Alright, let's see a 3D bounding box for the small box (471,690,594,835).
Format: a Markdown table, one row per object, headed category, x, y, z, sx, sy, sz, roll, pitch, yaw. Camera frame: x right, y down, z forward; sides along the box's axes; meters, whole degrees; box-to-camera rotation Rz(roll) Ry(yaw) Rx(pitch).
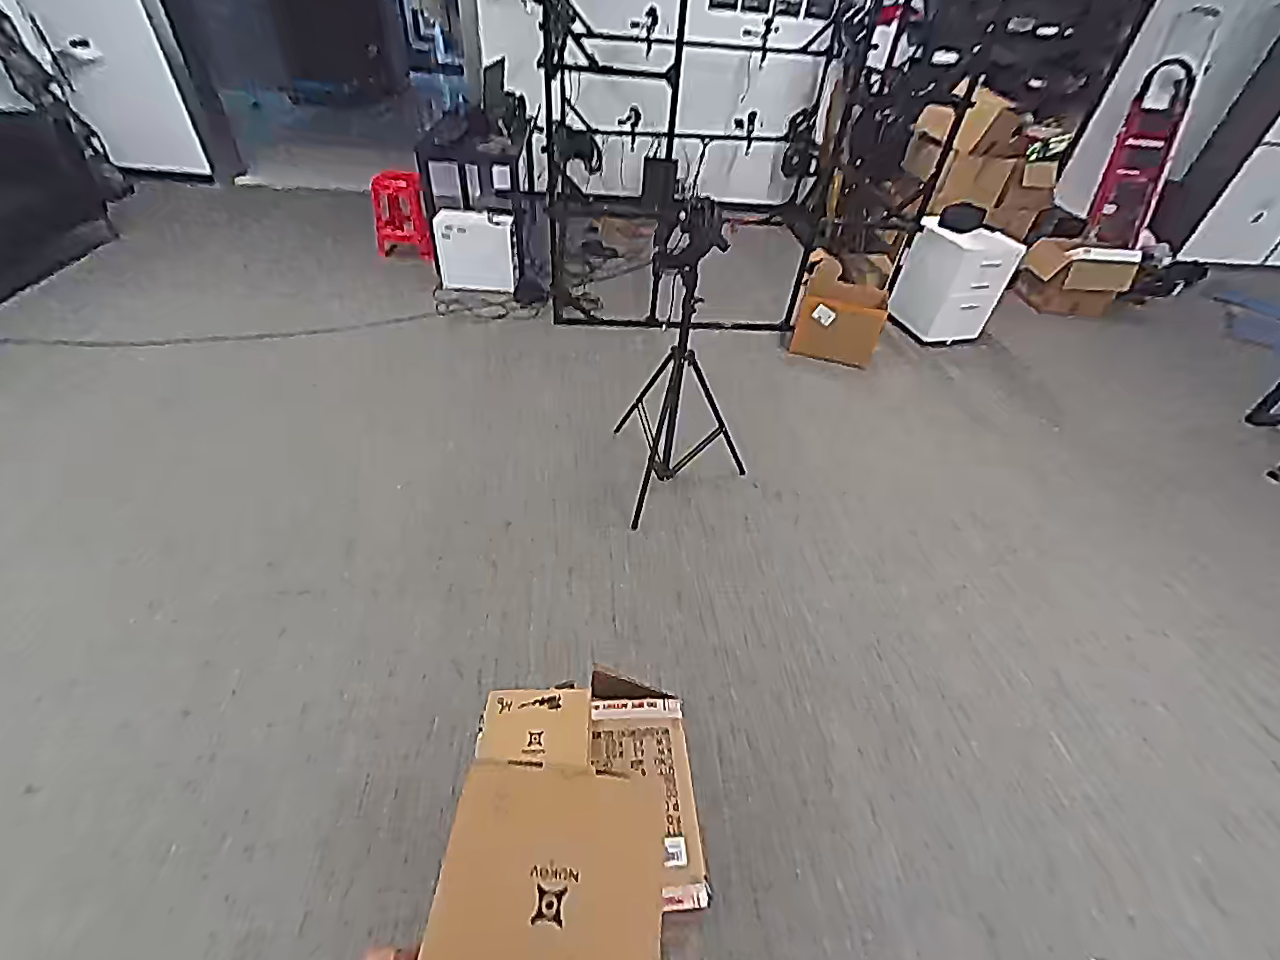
| category | x | y | z | sx | sy | sz | roll | pitch | yaw |
| --- | --- | --- | --- | --- | --- | --- | --- | --- | --- |
| small box | -0.162 | 0.460 | 0.876 | 0.168 | 0.176 | 0.179 | 0 | 45 | -3 |
